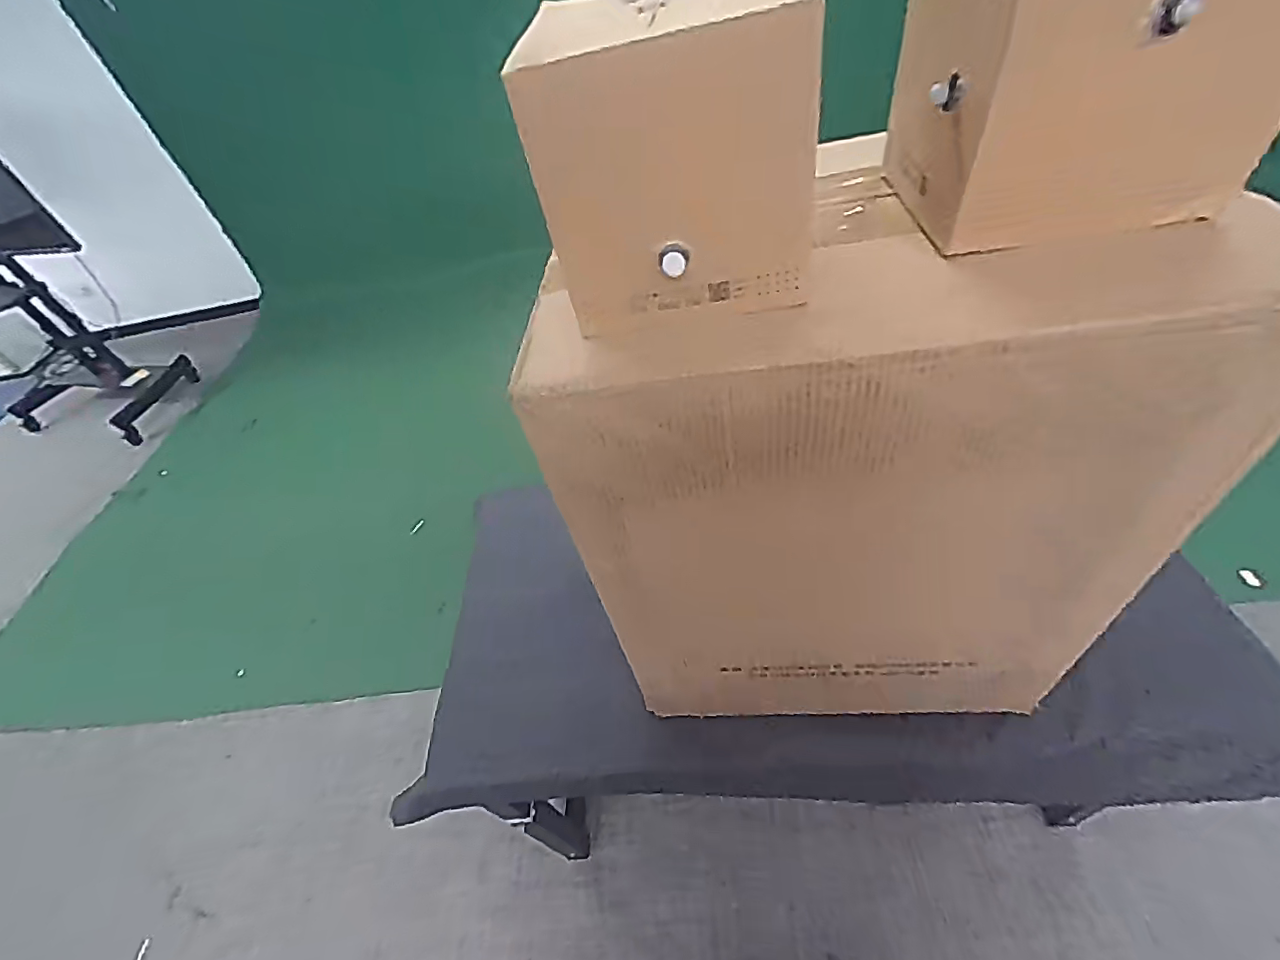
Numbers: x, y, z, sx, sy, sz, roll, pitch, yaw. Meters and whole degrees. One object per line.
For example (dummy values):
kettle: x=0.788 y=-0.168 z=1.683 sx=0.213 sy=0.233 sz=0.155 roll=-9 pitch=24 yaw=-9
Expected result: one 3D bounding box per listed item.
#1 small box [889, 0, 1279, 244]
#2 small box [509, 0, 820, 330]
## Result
small box: x=0.287 y=-0.280 z=0.370 sx=0.179 sy=0.176 sz=0.168 roll=-4 pitch=50 yaw=7
small box: x=0.026 y=-0.234 z=0.391 sx=0.168 sy=0.176 sz=0.179 roll=-6 pitch=49 yaw=9
